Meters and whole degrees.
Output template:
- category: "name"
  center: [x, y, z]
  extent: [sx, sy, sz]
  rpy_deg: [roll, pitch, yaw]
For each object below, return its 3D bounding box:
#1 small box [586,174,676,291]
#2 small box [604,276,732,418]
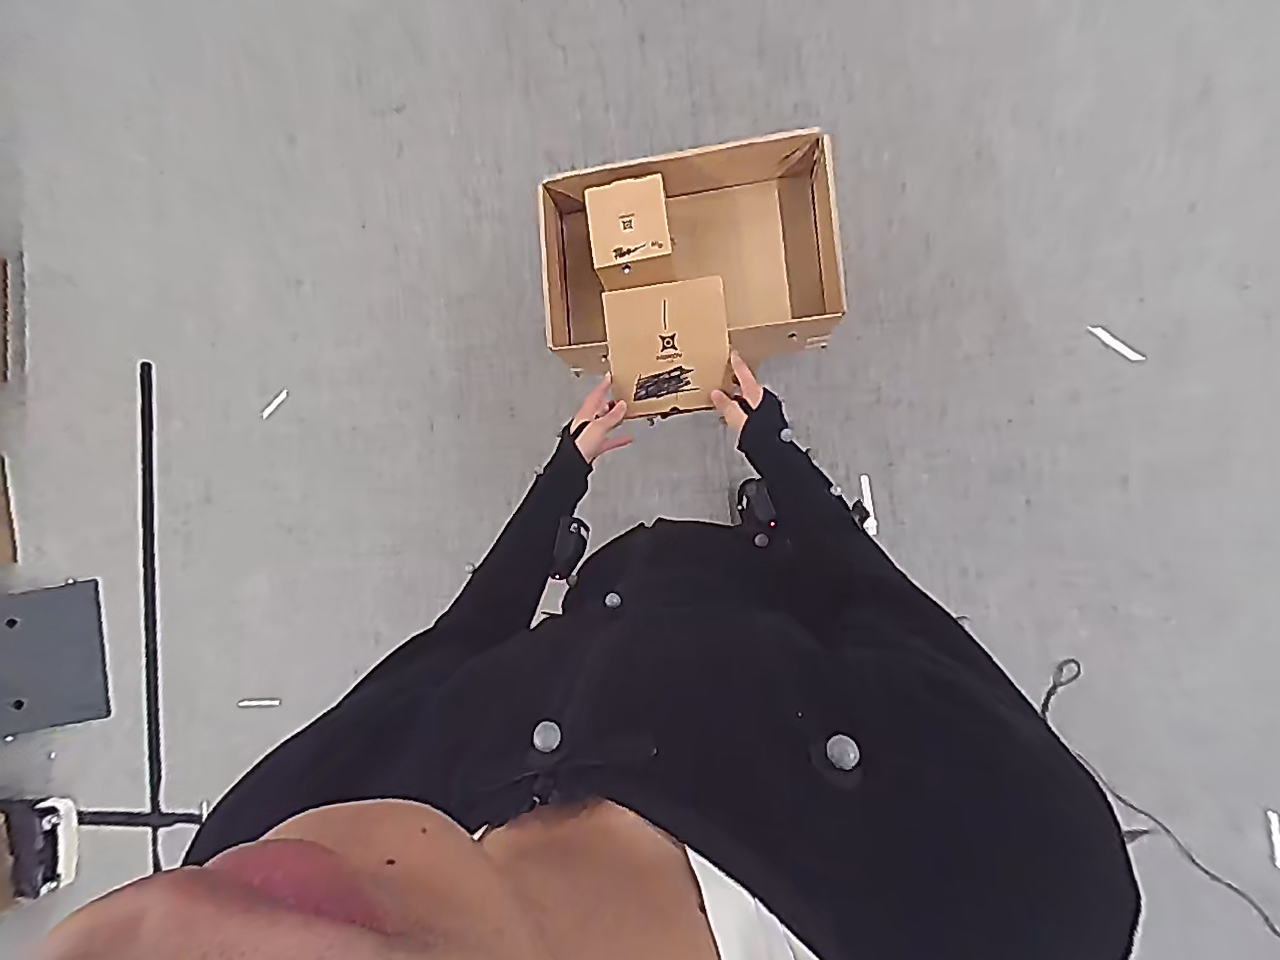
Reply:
- category: "small box"
  center: [-0.015, -0.533, 1.198]
  extent: [0.168, 0.176, 0.179]
  rpy_deg: [-8, 85, 8]
- category: "small box"
  center: [0.049, -0.190, 0.817]
  extent: [0.168, 0.176, 0.179]
  rpy_deg: [-6, 96, 8]
